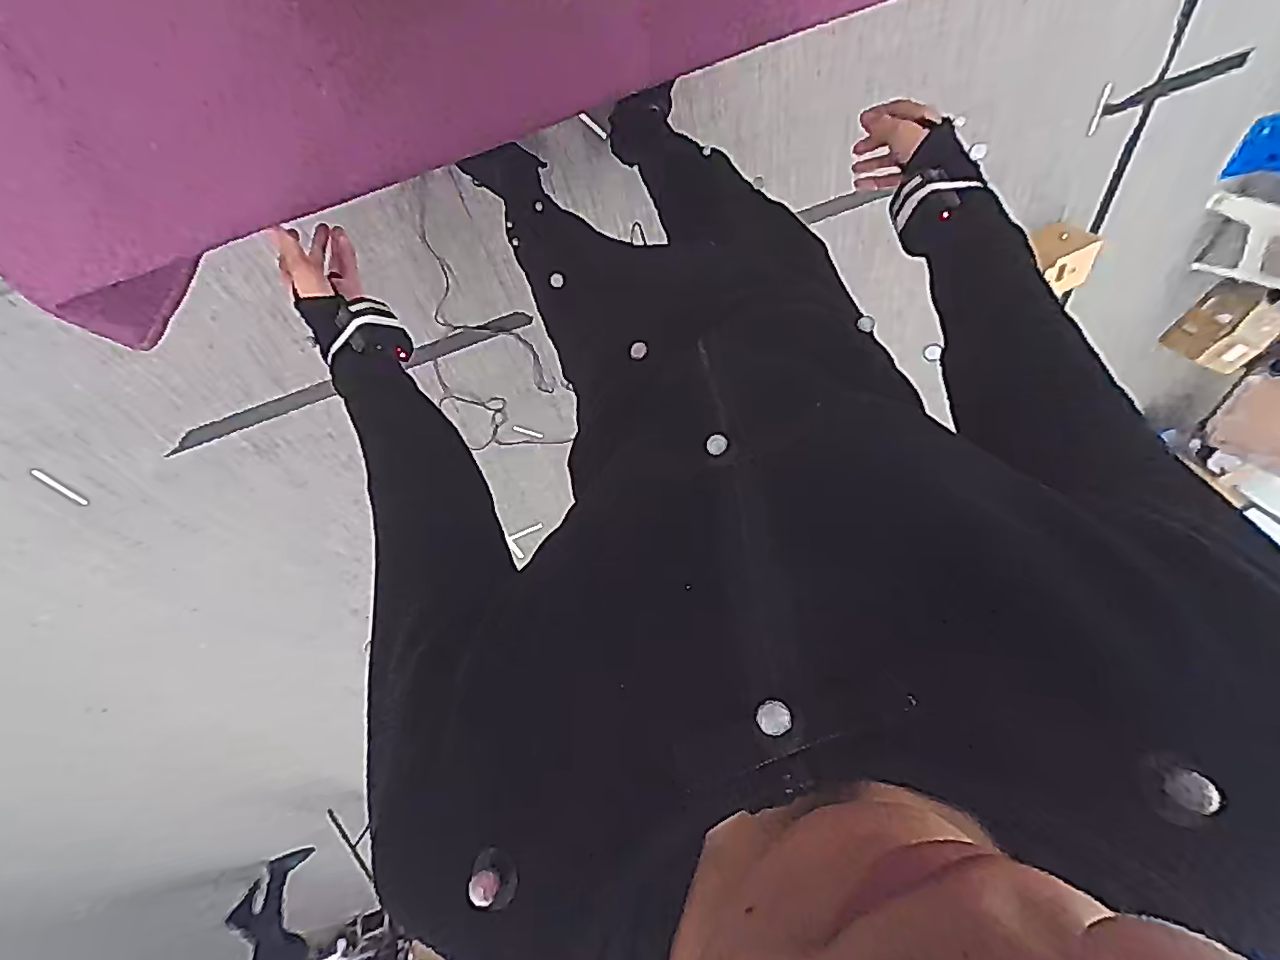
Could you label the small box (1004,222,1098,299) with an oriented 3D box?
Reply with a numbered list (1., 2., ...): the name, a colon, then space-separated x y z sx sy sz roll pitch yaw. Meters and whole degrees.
1. small box: 1.428 -0.771 1.893 0.179 0.176 0.168 -24 139 -3
